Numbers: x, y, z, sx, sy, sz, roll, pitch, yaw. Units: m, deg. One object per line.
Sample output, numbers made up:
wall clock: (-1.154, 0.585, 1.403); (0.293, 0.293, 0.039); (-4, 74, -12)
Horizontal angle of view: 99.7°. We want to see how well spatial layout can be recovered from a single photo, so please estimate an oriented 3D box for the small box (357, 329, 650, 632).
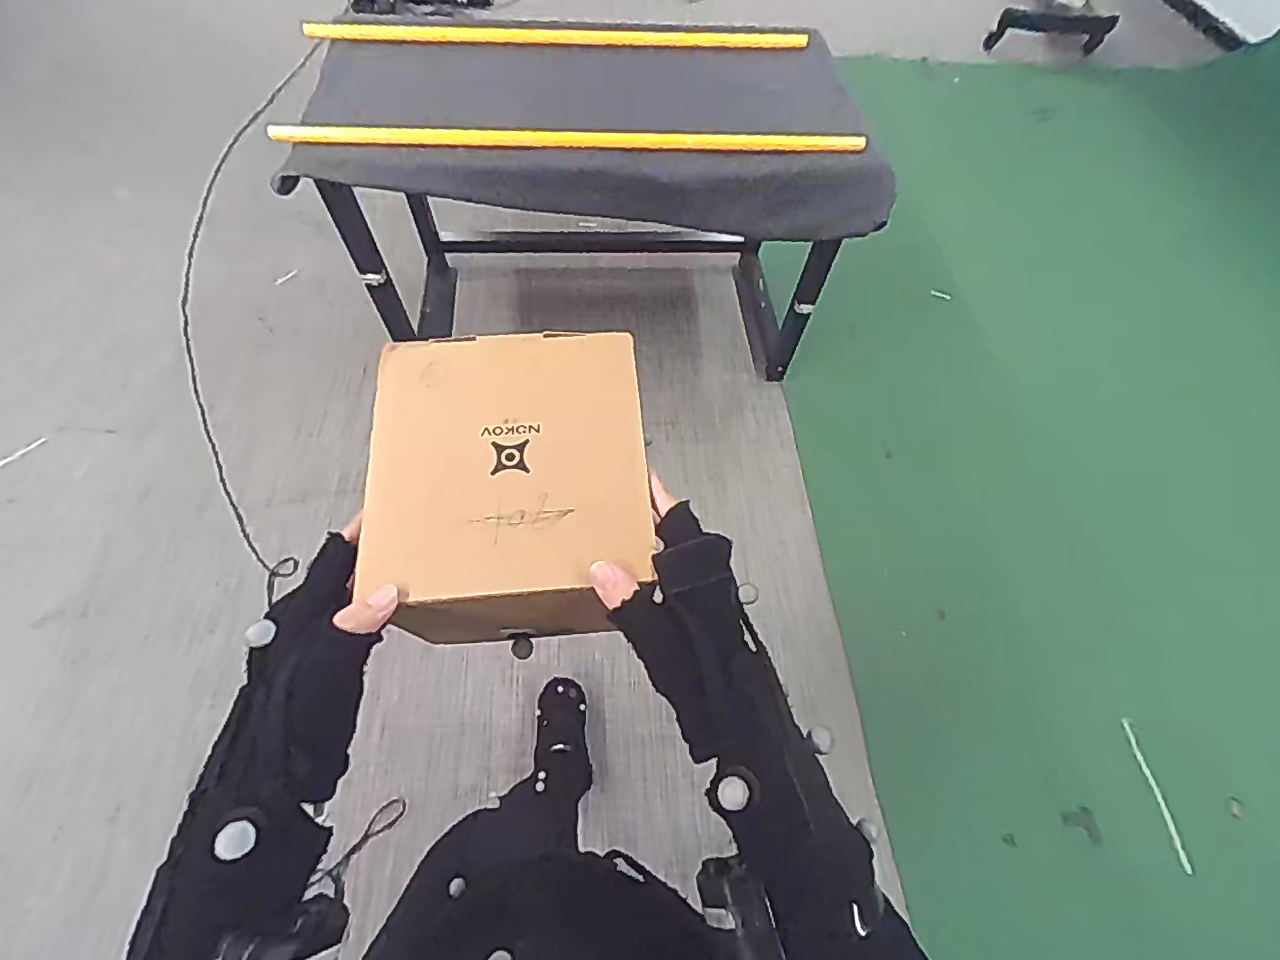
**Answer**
small box: (-0.086, 0.009, 0.409); (0.168, 0.176, 0.179); (-3, 67, -5)
